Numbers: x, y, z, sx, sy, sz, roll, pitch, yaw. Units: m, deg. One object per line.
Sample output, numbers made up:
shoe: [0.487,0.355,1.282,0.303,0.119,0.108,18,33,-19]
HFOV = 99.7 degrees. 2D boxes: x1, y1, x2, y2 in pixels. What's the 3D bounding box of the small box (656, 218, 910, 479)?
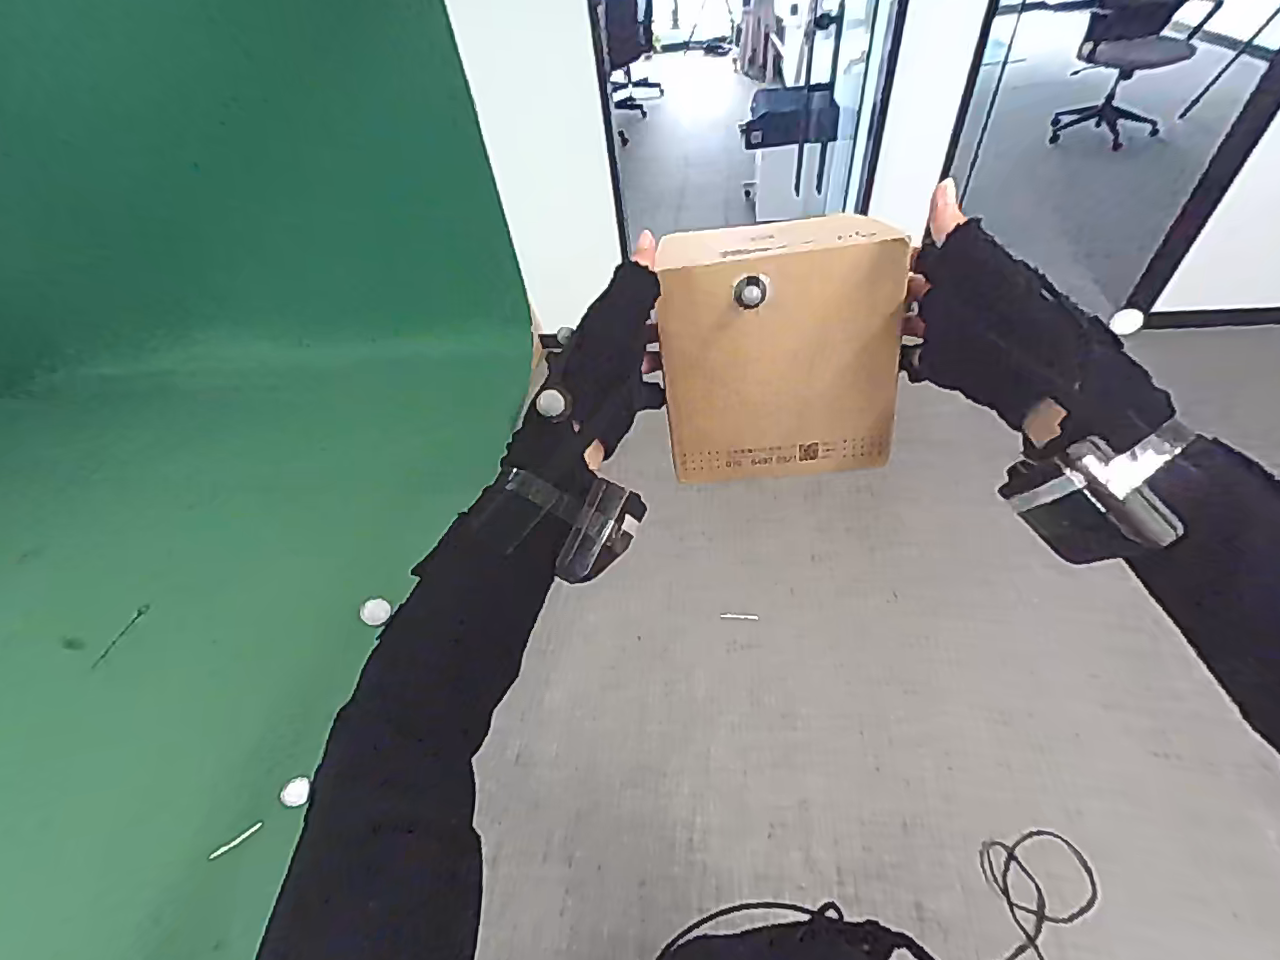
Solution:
small box: [0.110,-0.116,0.462,0.168,0.176,0.179,-5,29,9]
